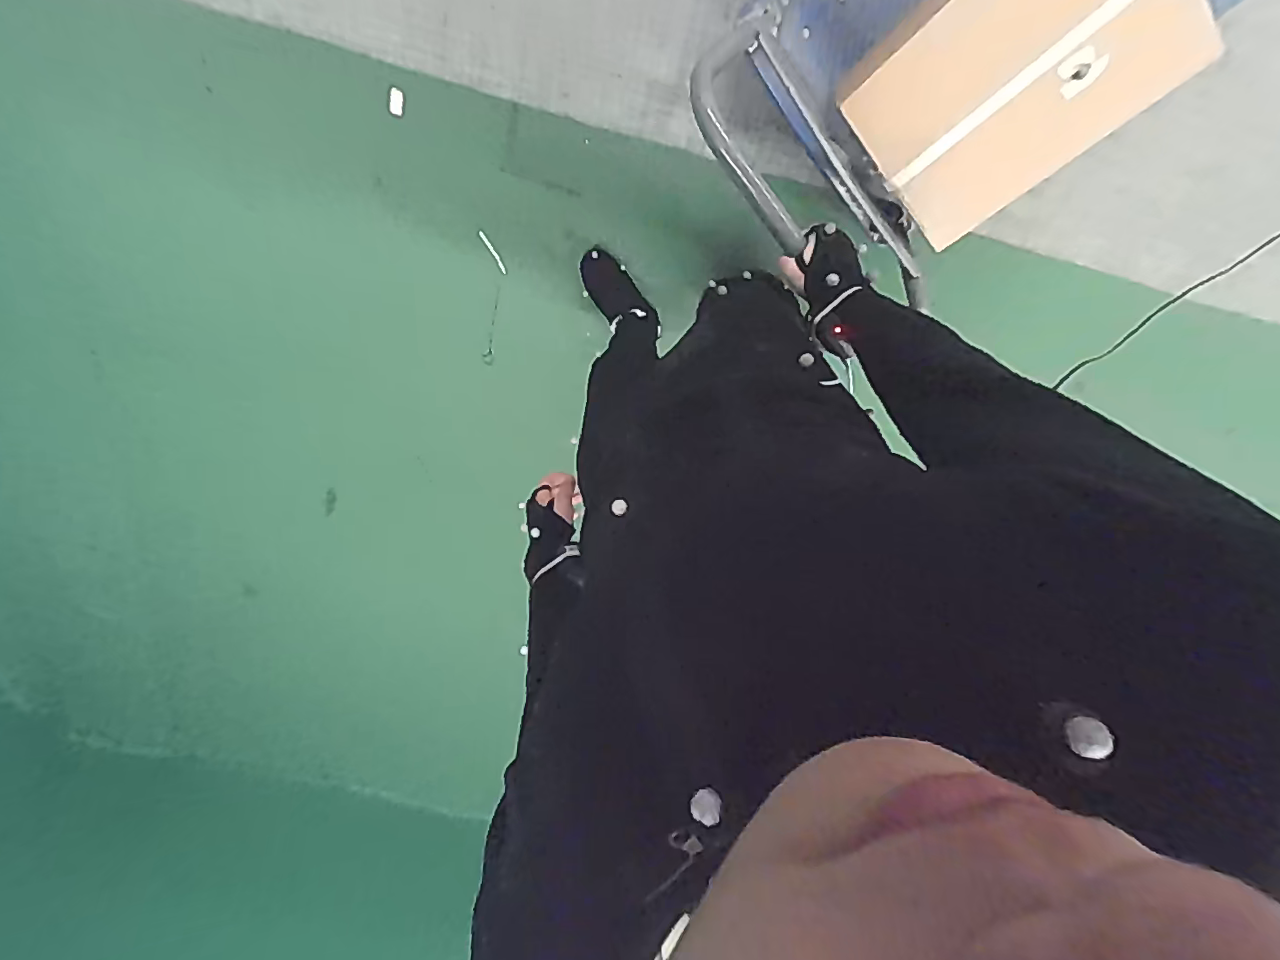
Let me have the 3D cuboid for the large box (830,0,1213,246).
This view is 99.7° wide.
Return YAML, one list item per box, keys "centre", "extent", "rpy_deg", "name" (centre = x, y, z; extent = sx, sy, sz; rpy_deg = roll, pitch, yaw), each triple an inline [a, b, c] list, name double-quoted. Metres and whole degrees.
- centre: [0.592, -0.697, 0.928]
  extent: [0.320, 0.320, 0.408]
  rpy_deg: [43, 127, -20]
  name: "large box"
